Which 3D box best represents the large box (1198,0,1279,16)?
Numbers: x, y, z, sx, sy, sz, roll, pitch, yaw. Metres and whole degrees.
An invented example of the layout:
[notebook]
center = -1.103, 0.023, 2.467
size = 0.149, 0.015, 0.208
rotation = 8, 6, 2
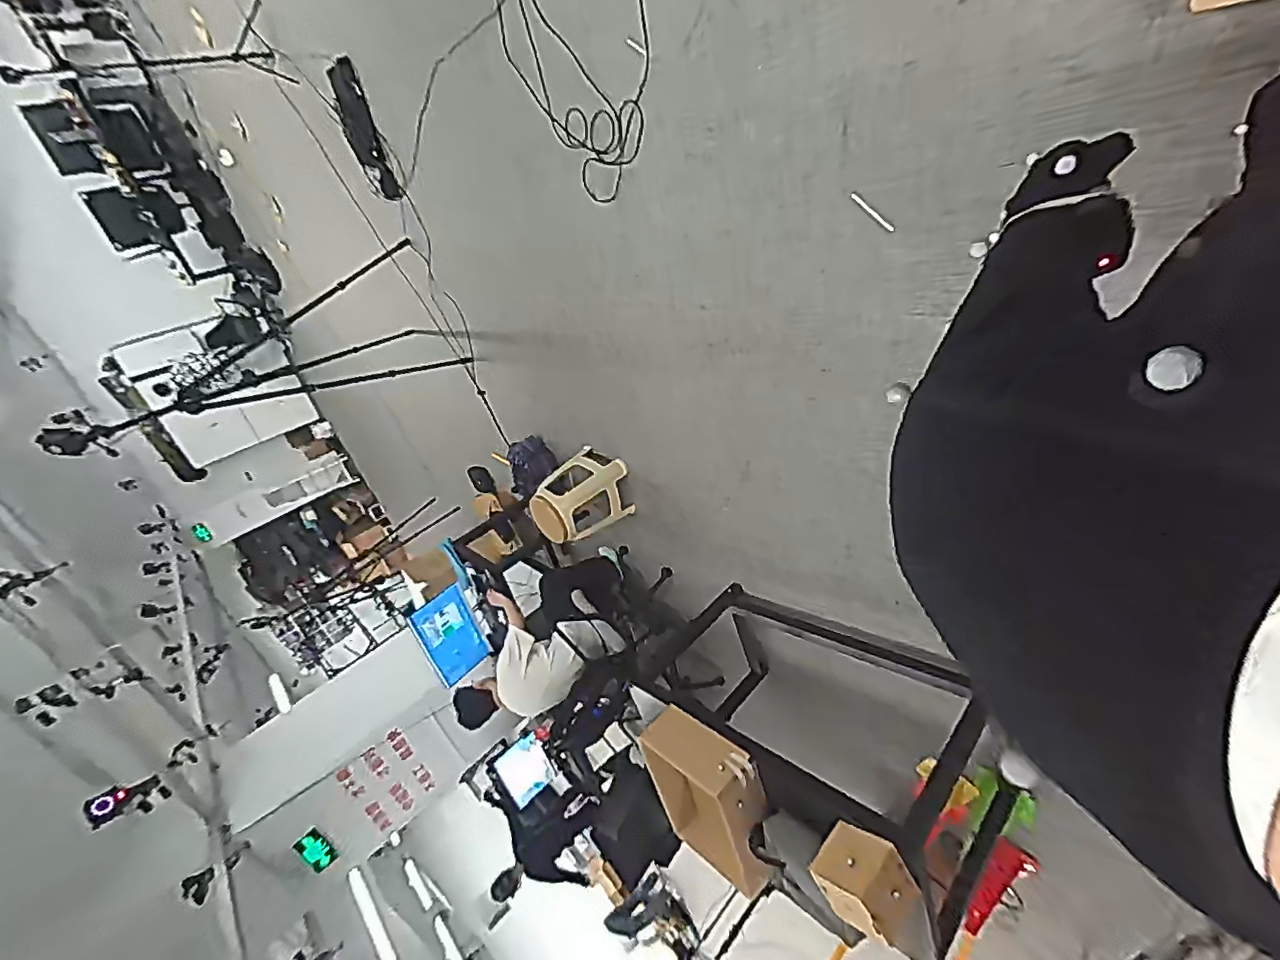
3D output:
[large box]
center = 0.936, -0.751, 0.574
size = 0.408, 0.320, 0.320
rotation = 22, 134, 43
